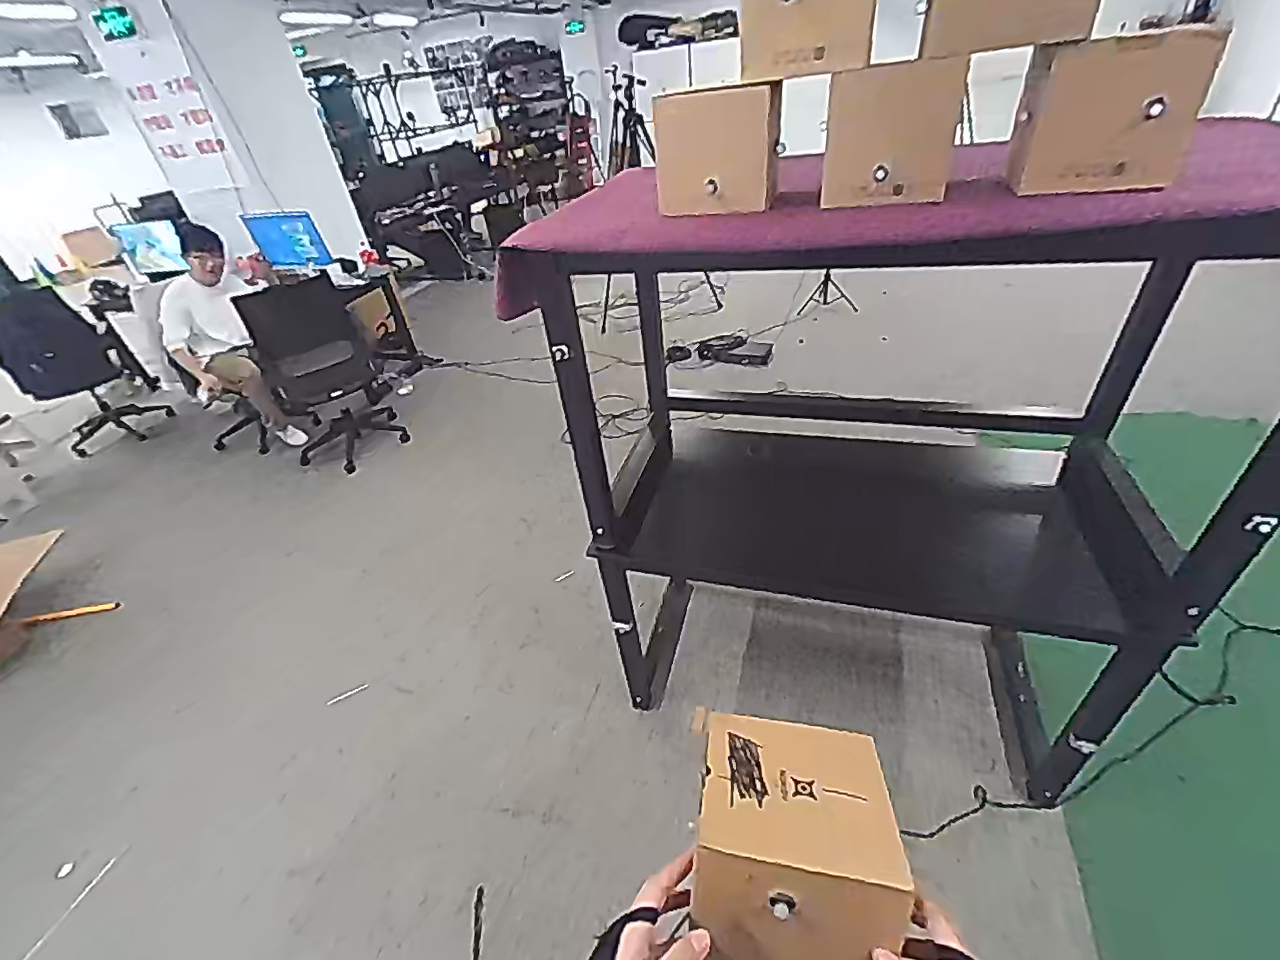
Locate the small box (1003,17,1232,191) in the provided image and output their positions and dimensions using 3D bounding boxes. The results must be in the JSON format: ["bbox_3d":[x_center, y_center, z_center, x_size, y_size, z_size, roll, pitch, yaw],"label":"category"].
[{"bbox_3d":[0.607,-0.489,0.718,0.168,0.176,0.179,9,39,21],"label":"small box"}]

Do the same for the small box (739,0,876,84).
[{"bbox_3d":[0.232,-0.652,0.736,0.168,0.176,0.179,6,39,20],"label":"small box"}]

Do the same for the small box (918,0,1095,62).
[{"bbox_3d":[0.454,-0.631,0.660,0.179,0.176,0.168,7,39,20],"label":"small box"}]

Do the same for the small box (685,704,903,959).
[{"bbox_3d":[0.141,0.358,0.540,0.179,0.176,0.168,4,18,10],"label":"small box"}]

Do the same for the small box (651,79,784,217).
[{"bbox_3d":[0.130,-0.537,0.876,0.179,0.176,0.168,7,39,18],"label":"small box"}]
